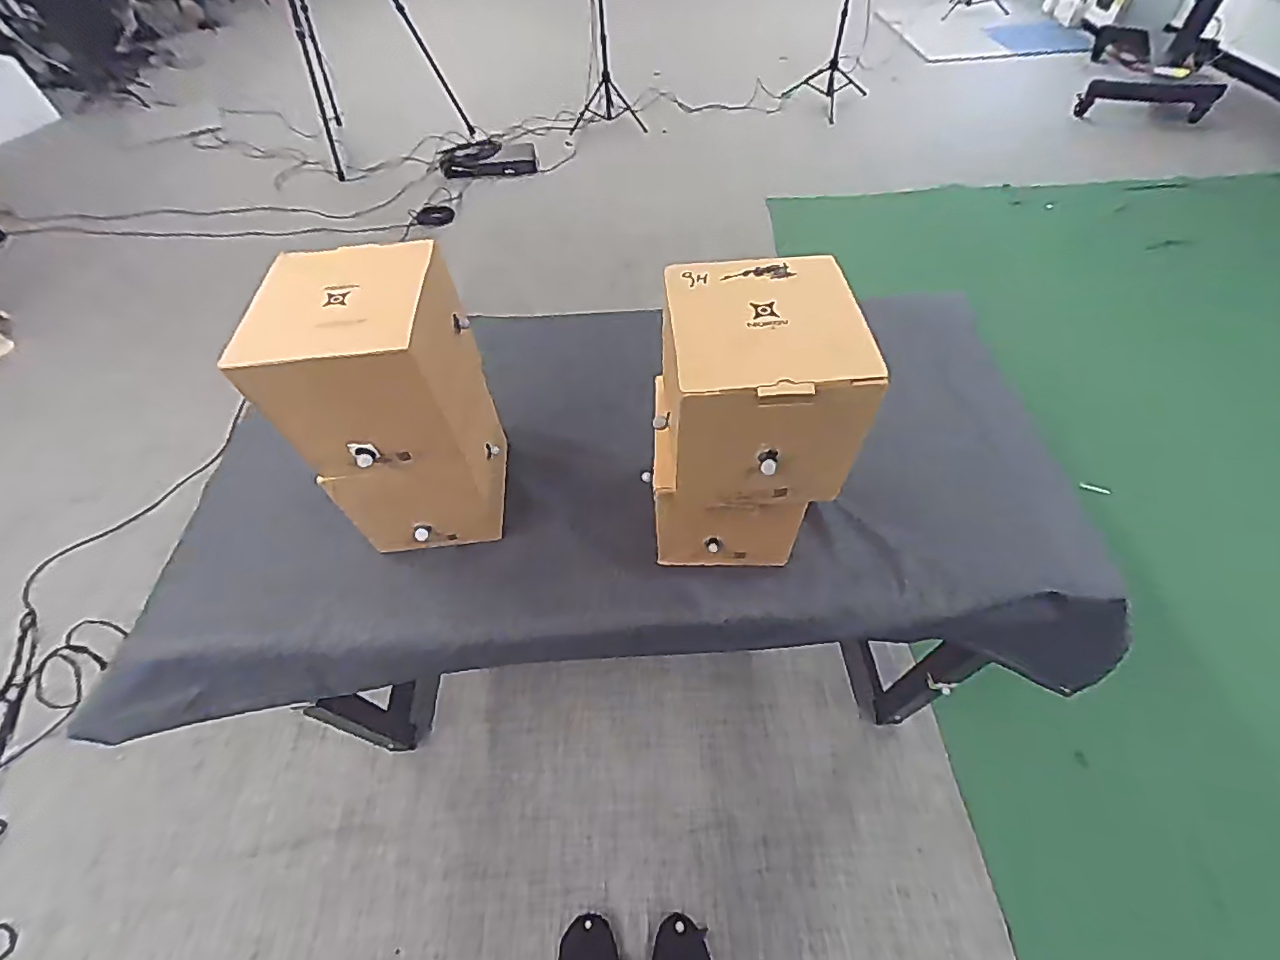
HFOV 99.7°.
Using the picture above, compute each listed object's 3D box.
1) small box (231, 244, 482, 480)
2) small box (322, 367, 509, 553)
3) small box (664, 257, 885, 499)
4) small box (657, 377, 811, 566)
[{"bbox_3d":[-0.275,-0.123,0.578,0.168,0.176,0.179,-7,54,-1],"label":"small box"},{"bbox_3d":[-0.274,-0.026,0.709,0.168,0.176,0.179,-6,54,-2],"label":"small box"},{"bbox_3d":[0.113,-0.092,0.537,0.168,0.176,0.179,-4,54,0],"label":"small box"},{"bbox_3d":[0.105,-0.010,0.680,0.168,0.176,0.179,0,53,2],"label":"small box"}]
